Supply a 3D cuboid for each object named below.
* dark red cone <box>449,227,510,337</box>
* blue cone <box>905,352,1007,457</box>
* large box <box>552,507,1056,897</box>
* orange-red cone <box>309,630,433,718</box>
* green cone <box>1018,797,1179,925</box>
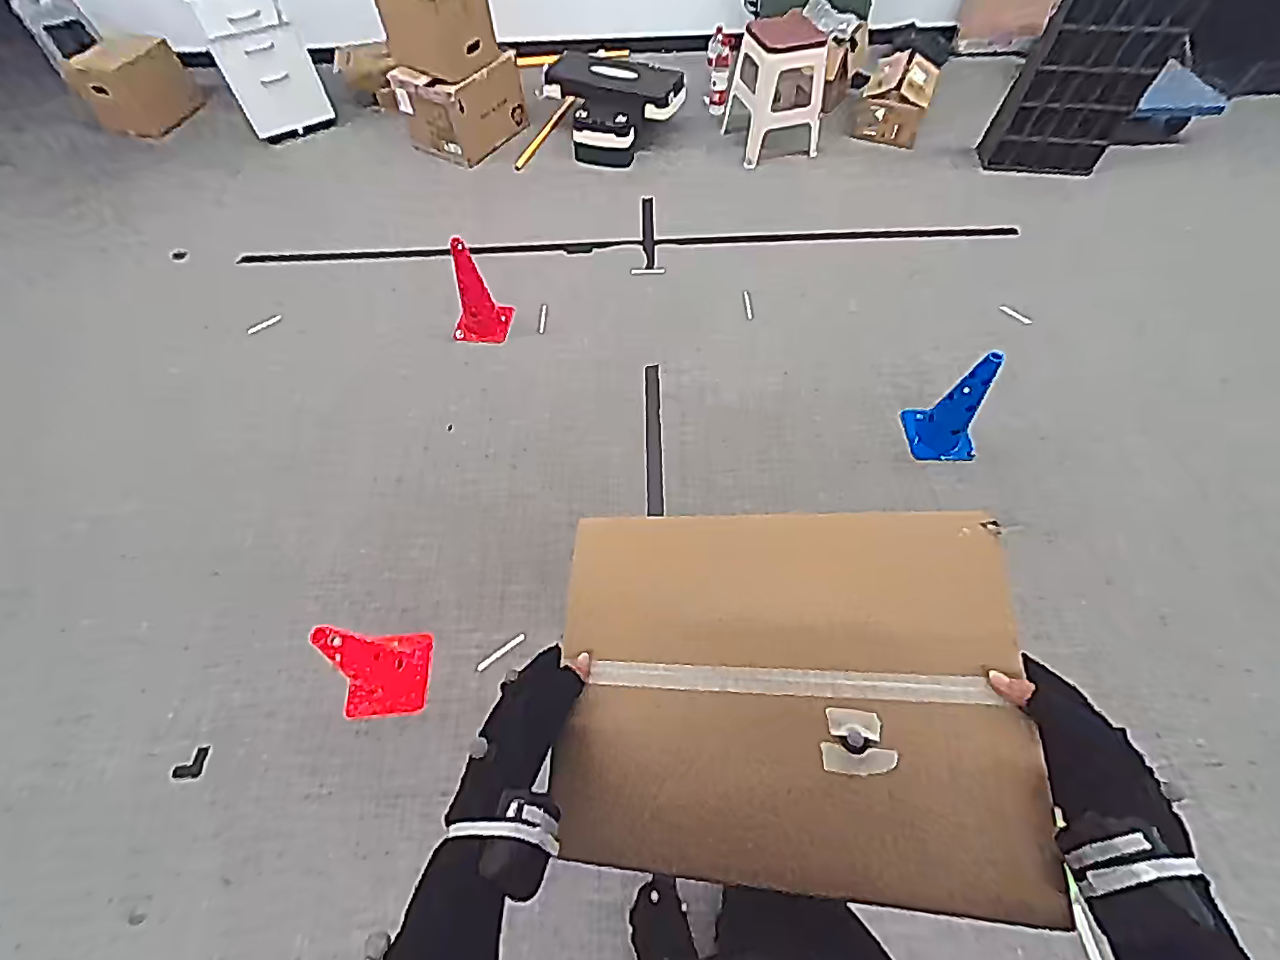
[{"bbox_3d":[-0.605,-0.701,1.912,0.201,0.394,0.202,4,58,2],"label":"dark red cone"},{"bbox_3d":[0.976,-0.240,1.634,0.192,0.380,0.193,2,58,1],"label":"blue cone"},{"bbox_3d":[0.150,0.234,0.628,0.408,0.320,0.320,-2,67,13],"label":"large box"},{"bbox_3d":[-0.643,0.413,1.243,0.198,0.360,0.199,-4,59,0],"label":"orange-red cone"},{"bbox_3d":[0.850,0.705,1.024,0.202,0.368,0.200,-34,64,-20],"label":"green cone"}]
